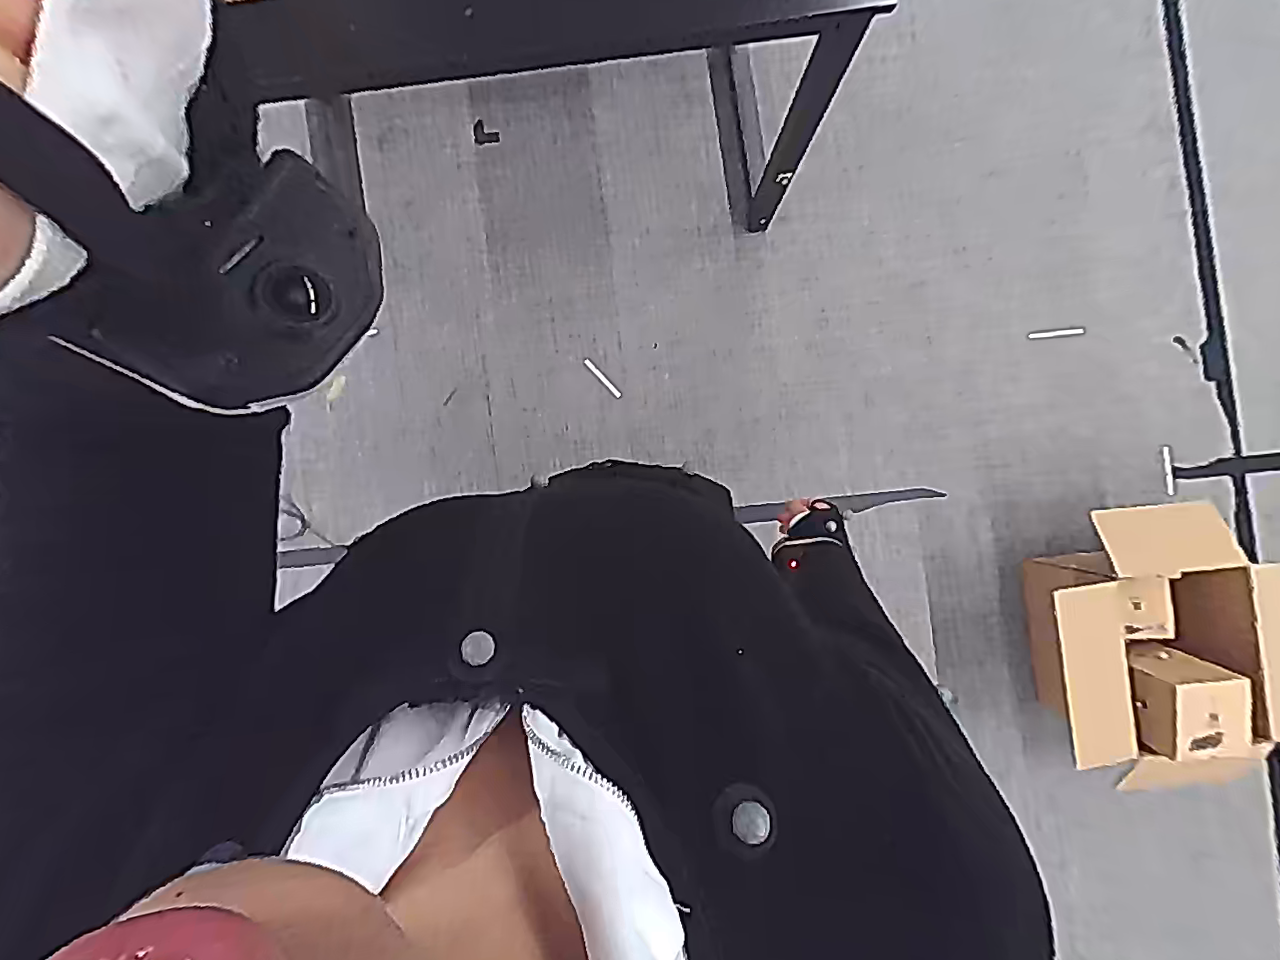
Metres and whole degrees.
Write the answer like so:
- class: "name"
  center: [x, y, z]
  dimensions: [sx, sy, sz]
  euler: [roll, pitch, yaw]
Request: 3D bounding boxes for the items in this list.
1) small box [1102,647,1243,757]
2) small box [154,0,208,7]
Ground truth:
- class: "small box"
  center: [1.212, 0.505, 1.244]
  dimensions: [0.168, 0.176, 0.179]
  euler: [-4, 94, -2]
- class: "small box"
  center: [-0.608, -0.759, 0.687]
  dimensions: [0.179, 0.176, 0.168]
  euler: [-9, 89, 0]
